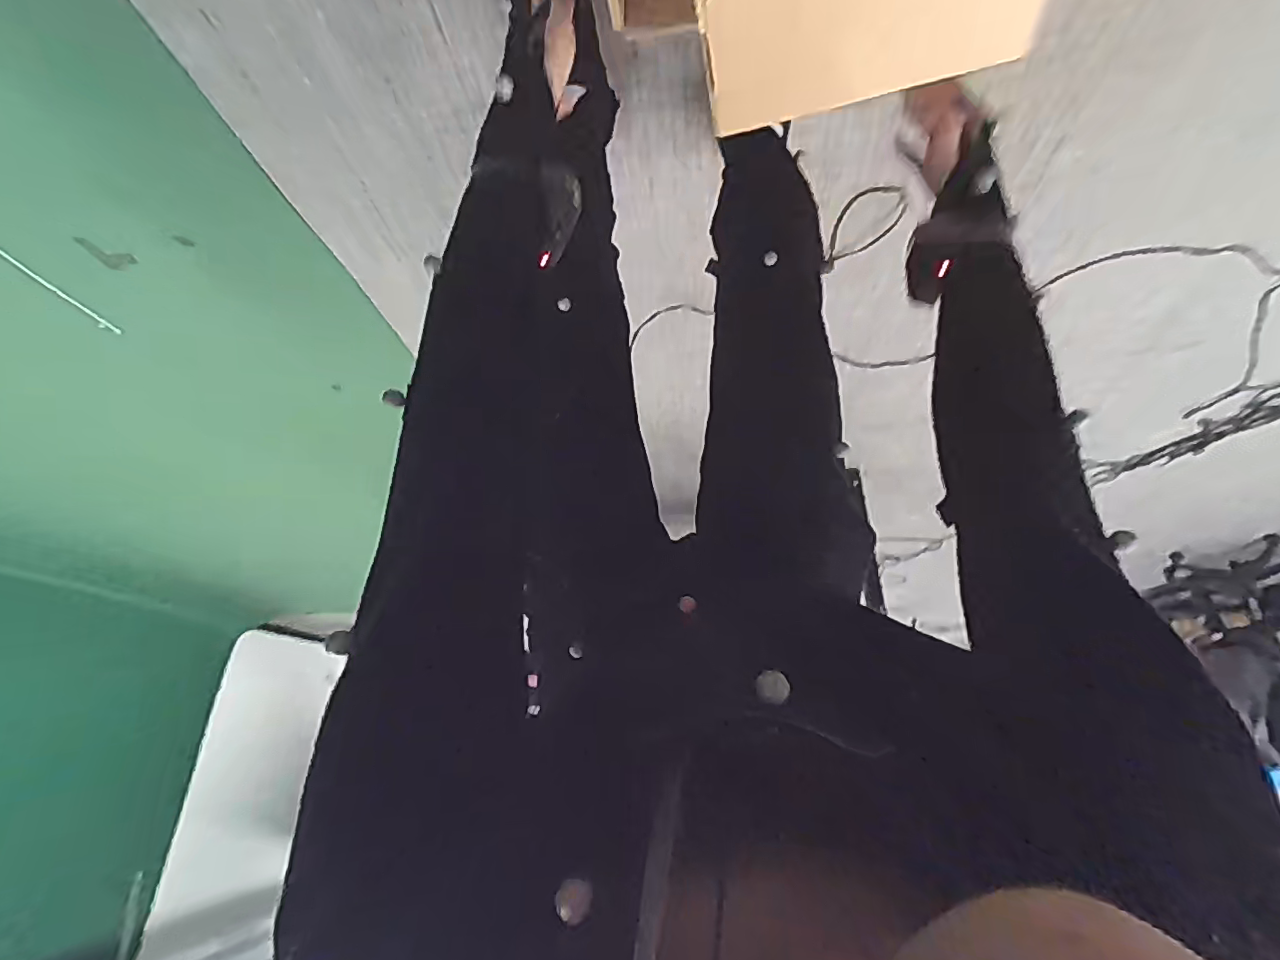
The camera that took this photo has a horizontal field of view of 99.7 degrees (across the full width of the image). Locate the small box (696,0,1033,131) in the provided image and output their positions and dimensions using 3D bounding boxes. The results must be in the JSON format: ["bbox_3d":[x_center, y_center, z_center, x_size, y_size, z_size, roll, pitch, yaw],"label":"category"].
[{"bbox_3d":[0.109,-0.339,0.287,0.179,0.176,0.168,-7,156,14],"label":"small box"}]
